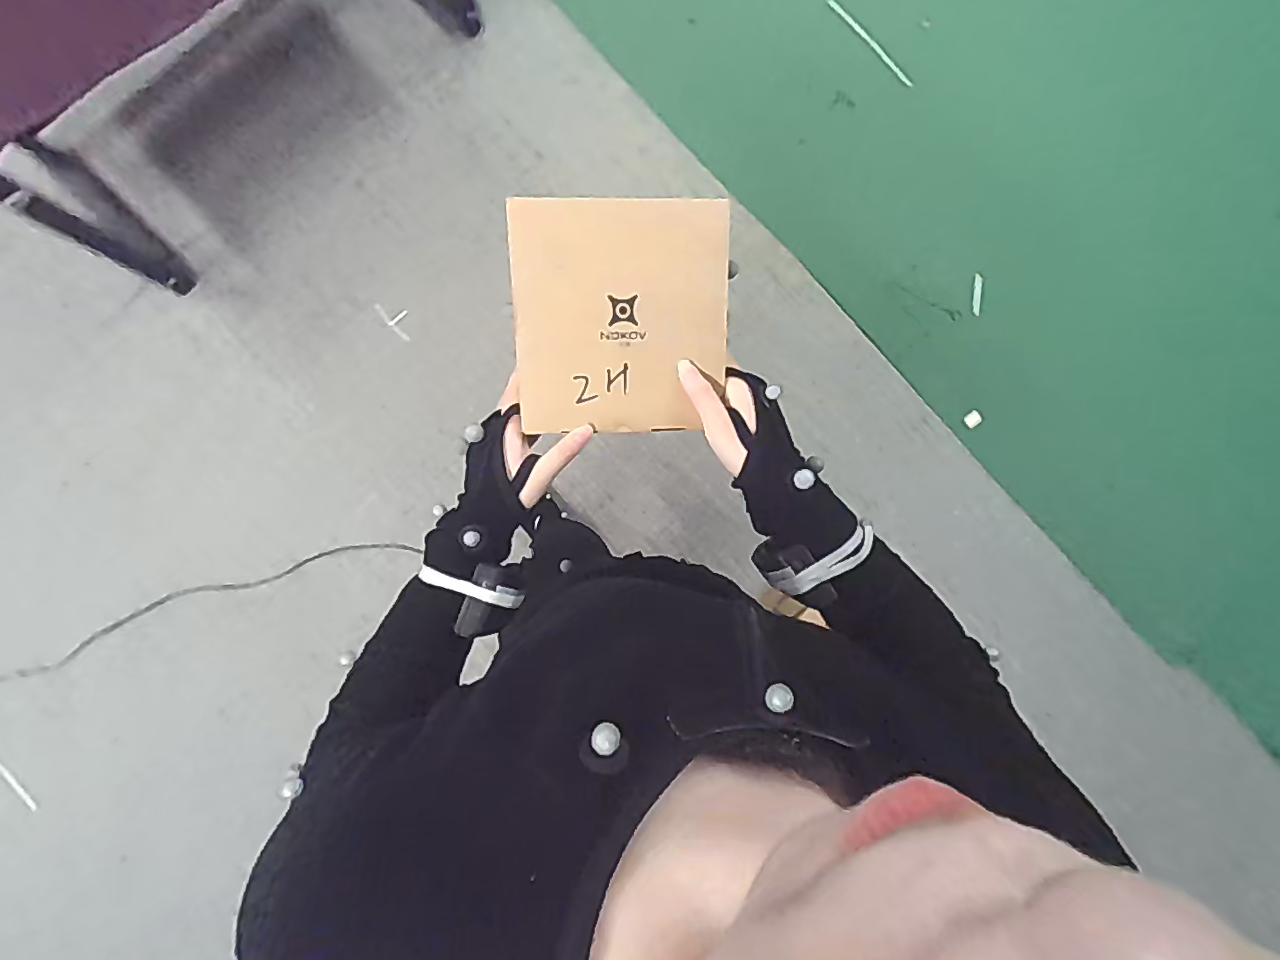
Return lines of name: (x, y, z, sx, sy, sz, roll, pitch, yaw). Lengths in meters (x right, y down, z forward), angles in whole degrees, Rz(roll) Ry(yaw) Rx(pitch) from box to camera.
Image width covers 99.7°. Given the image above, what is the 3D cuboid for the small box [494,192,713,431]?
small box: (-0.032, -0.147, 0.496, 0.168, 0.176, 0.179, -3, 106, -4)
